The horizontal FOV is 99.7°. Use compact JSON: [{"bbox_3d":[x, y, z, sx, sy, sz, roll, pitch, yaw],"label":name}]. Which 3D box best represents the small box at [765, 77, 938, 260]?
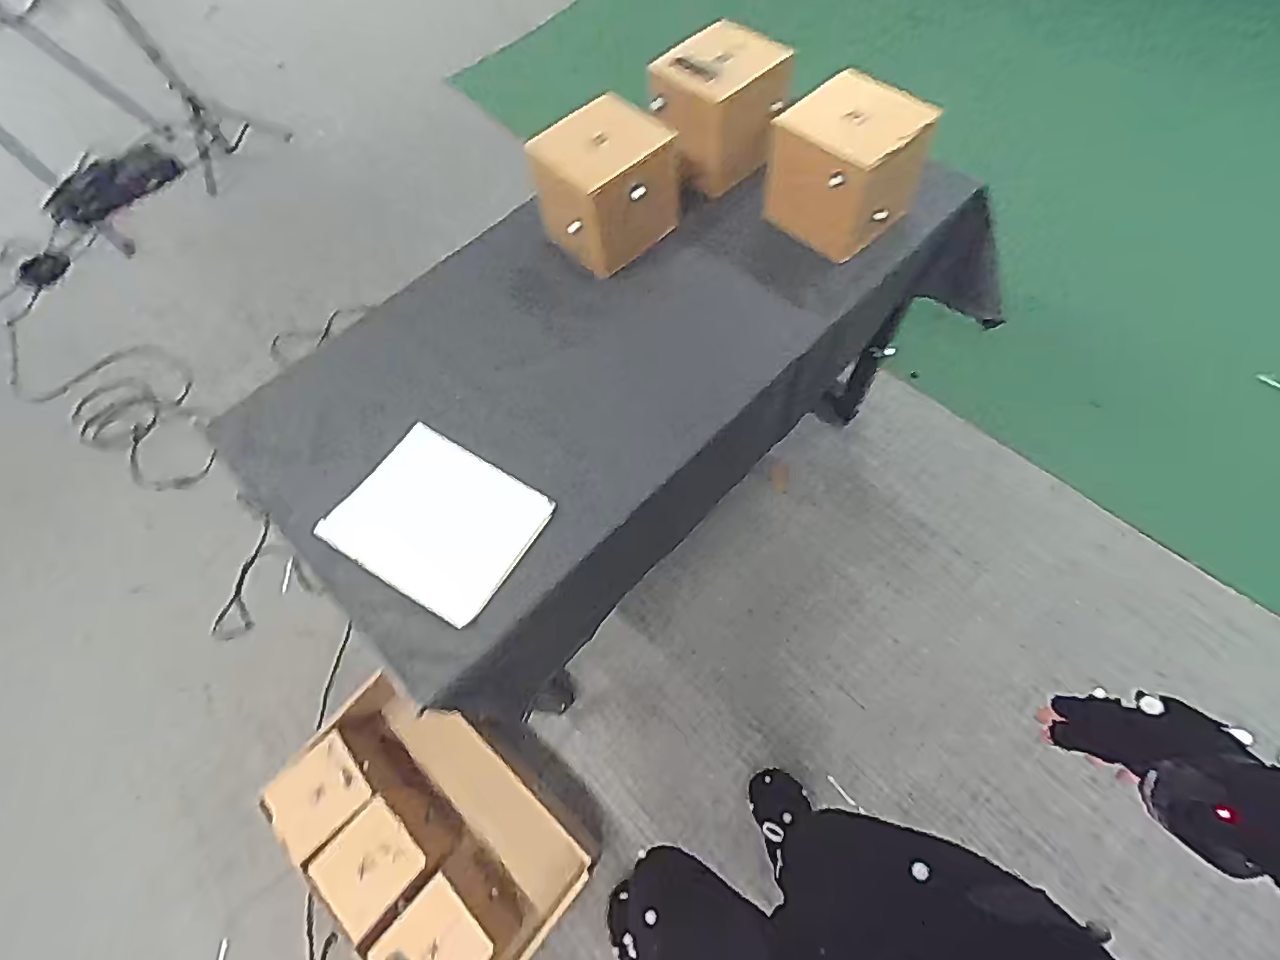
[{"bbox_3d":[0.322,-0.492,0.866,0.168,0.176,0.179,-40,67,-14],"label":"small box"}]
